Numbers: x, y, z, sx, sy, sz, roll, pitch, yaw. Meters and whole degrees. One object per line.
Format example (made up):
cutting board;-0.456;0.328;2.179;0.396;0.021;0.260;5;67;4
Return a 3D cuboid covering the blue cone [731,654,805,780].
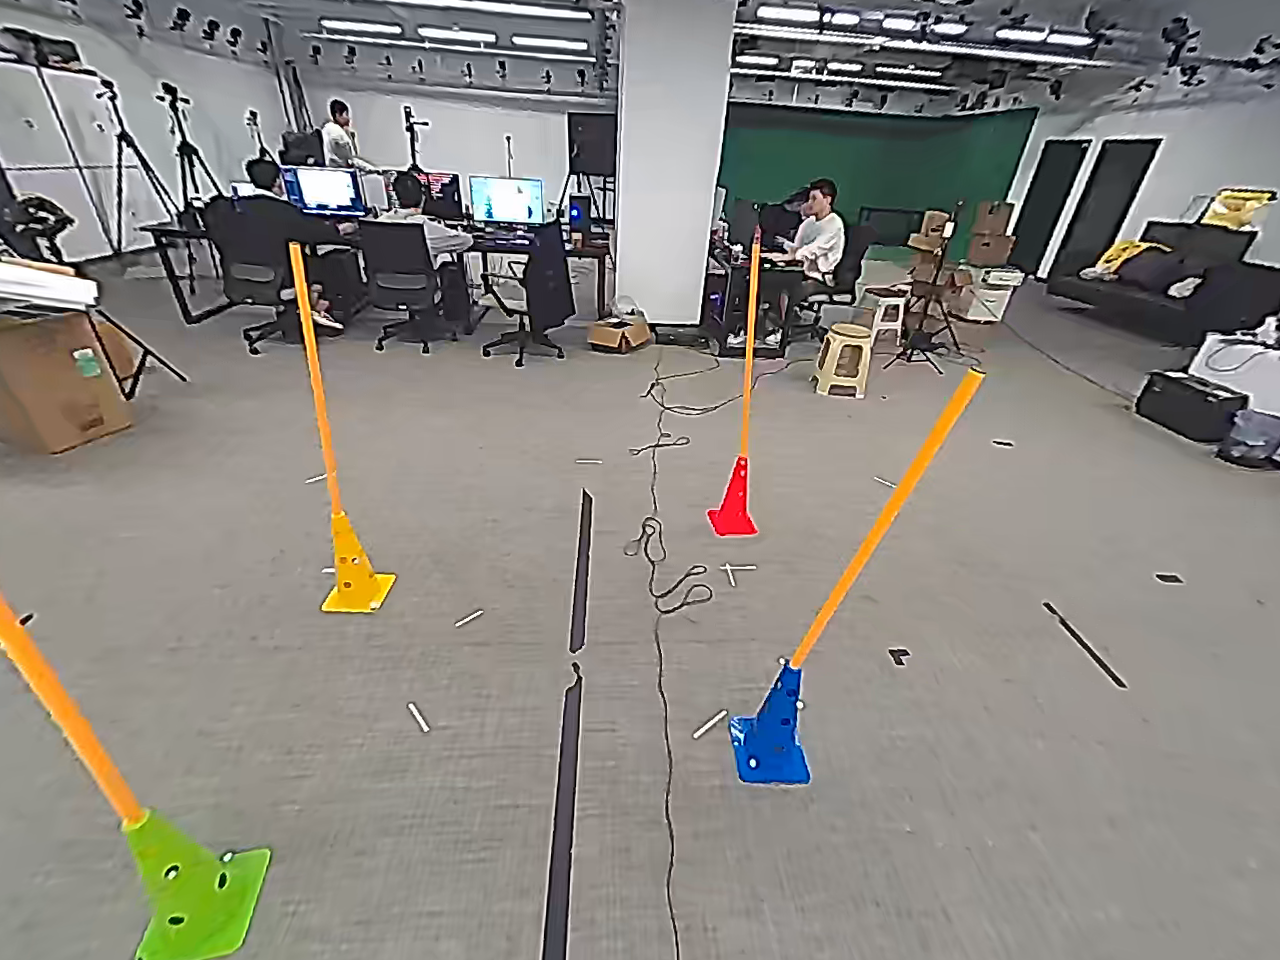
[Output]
blue cone;0.377;0.626;1.471;0.193;0.380;0.192;3;30;-2

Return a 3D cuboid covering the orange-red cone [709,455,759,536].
orange-red cone;0.442;0.053;2.421;0.199;0.360;0.198;-2;31;-8

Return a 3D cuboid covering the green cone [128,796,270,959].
green cone;-0.923;0.761;1.078;0.200;0.368;0.202;-4;29;-13
